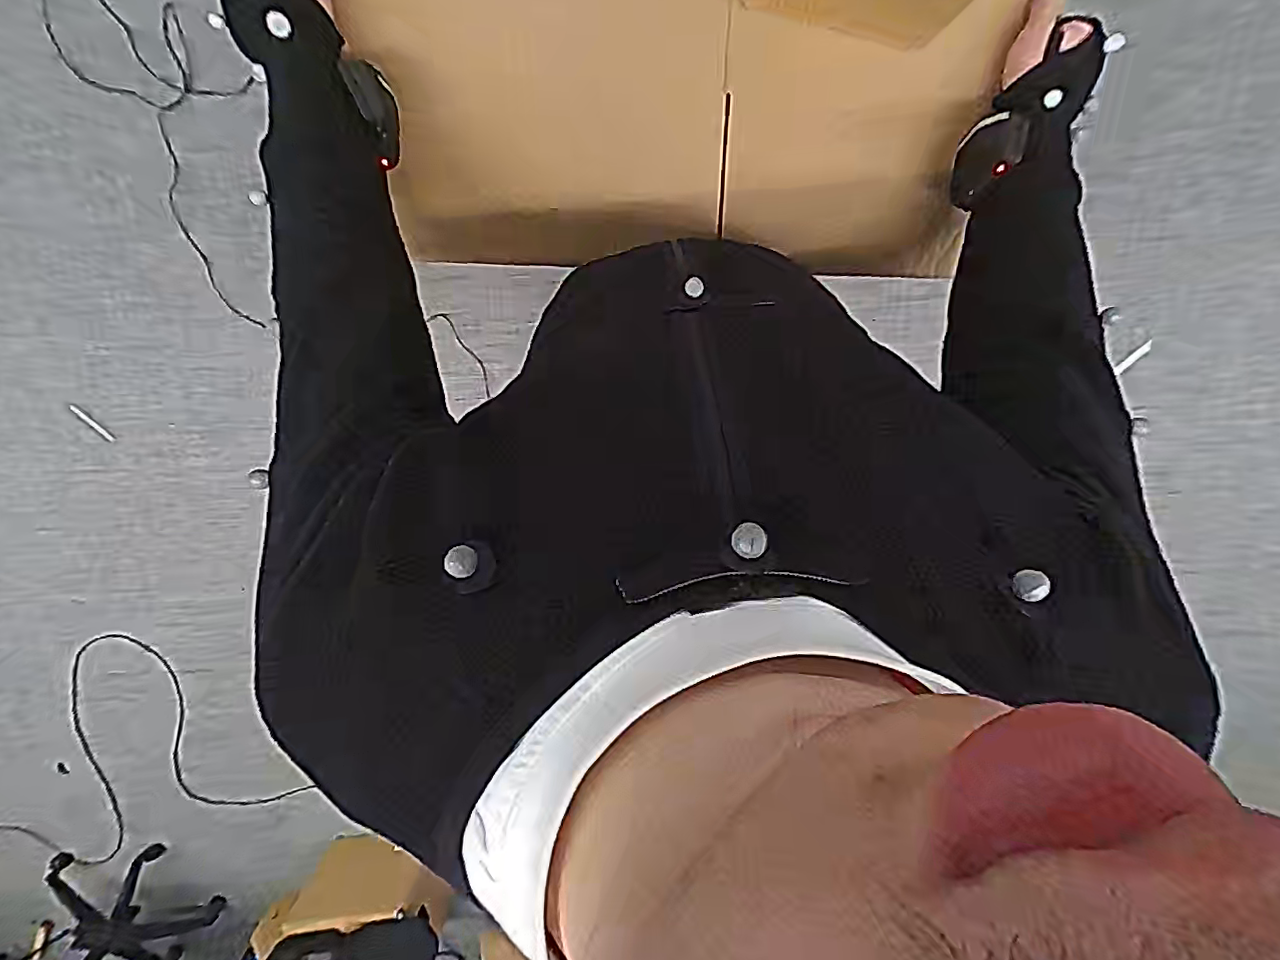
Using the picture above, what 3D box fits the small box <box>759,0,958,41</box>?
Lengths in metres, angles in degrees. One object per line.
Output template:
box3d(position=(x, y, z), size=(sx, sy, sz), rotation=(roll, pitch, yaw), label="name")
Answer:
box3d(position=(0.193, -0.470, 0.399), size=(0.179, 0.176, 0.168), rotation=(12, 108, -2), label="small box")
